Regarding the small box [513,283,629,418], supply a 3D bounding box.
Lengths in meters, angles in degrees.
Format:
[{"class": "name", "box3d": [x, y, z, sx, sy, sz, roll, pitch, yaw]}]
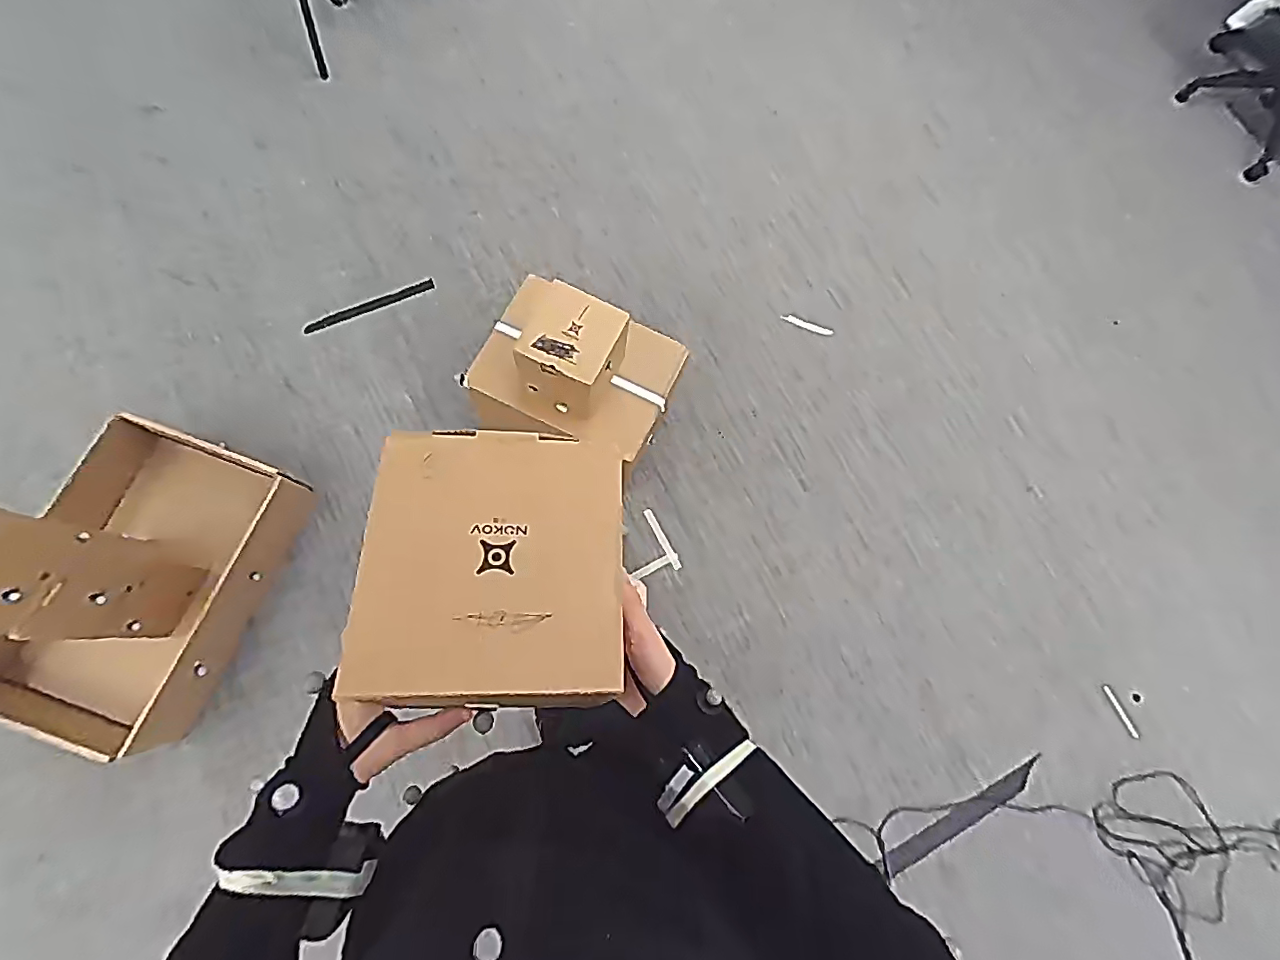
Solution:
[{"class": "small box", "box3d": [-0.135, -0.253, 1.098, 0.168, 0.176, 0.179, 26, 73, 1]}]

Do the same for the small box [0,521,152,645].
[{"class": "small box", "box3d": [-1.068, 0.185, 0.987, 0.179, 0.176, 0.168, 25, 73, 1]}]

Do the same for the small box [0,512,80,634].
[{"class": "small box", "box3d": [-1.058, 0.132, 0.832, 0.179, 0.176, 0.168, 24, 73, 1]}]

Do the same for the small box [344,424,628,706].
[{"class": "small box", "box3d": [-0.103, 0.077, 0.424, 0.168, 0.176, 0.179, 2, 65, -9]}]
